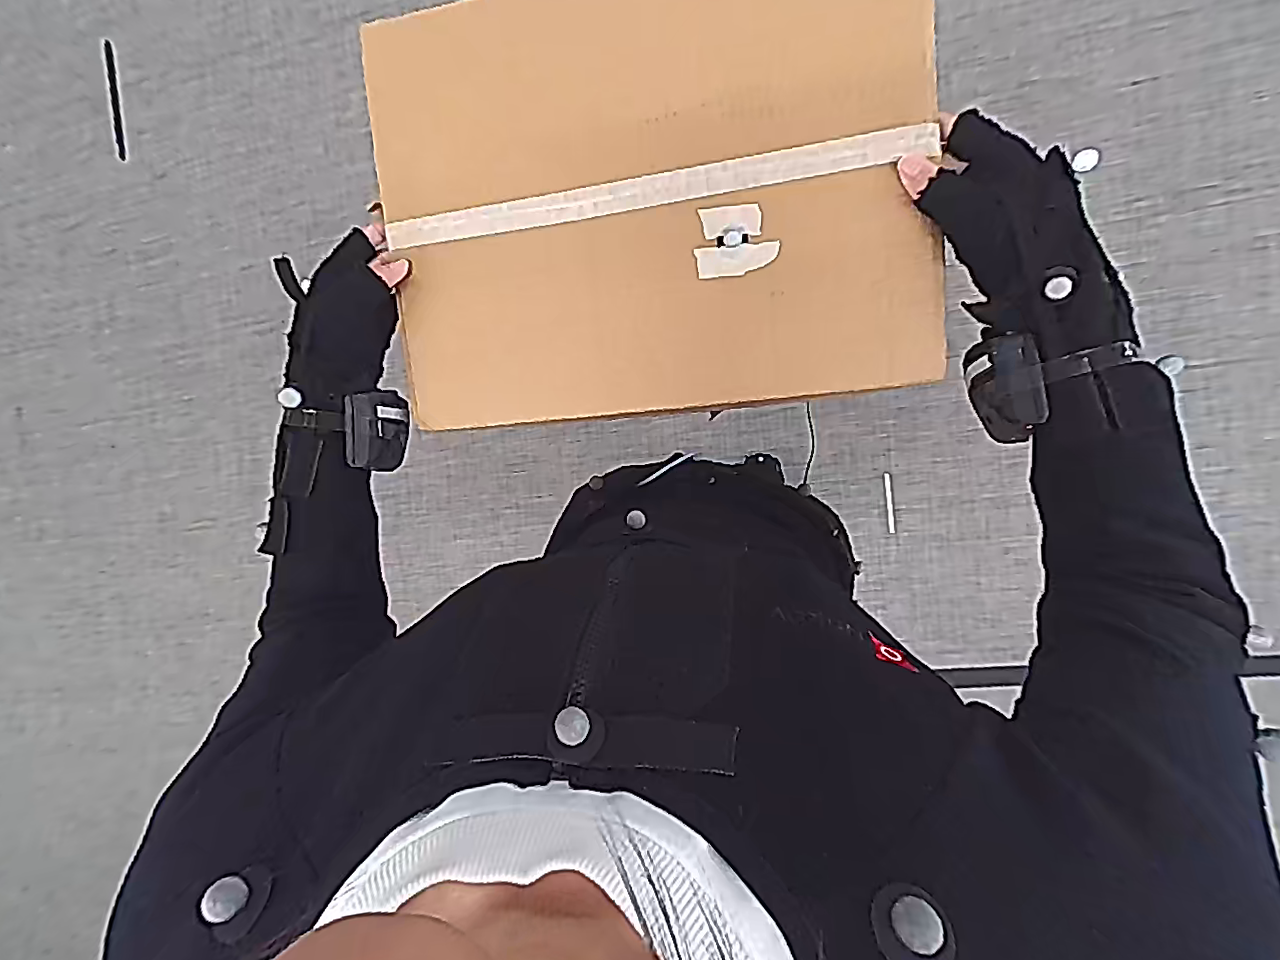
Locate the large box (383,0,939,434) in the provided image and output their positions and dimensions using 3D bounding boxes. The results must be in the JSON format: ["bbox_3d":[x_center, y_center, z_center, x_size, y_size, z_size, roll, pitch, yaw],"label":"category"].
[{"bbox_3d":[0.028,-0.227,0.554,0.408,0.320,0.320,-5,97,10],"label":"large box"}]
